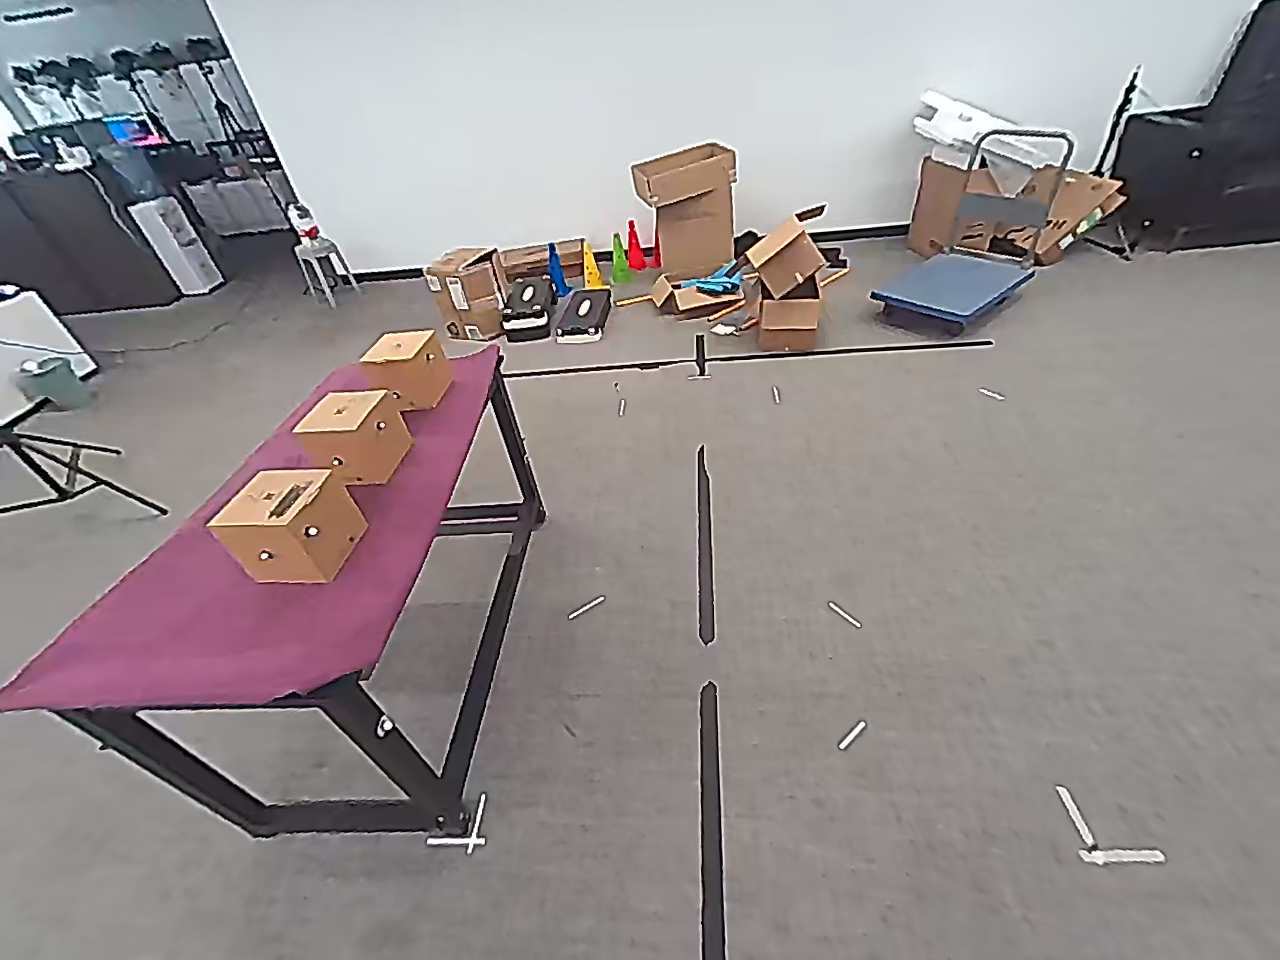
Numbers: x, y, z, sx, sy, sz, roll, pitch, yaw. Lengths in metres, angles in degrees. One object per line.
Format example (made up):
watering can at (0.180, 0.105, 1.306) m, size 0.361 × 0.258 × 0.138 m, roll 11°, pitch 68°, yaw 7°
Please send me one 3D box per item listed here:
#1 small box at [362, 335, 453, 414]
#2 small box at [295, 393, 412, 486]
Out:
small box at (-0.680, -0.314, 1.608) m, size 0.168 × 0.176 × 0.179 m, roll -2°, pitch 41°, yaw 9°
small box at (-0.702, -0.098, 1.352) m, size 0.168 × 0.176 × 0.179 m, roll -1°, pitch 40°, yaw 8°
